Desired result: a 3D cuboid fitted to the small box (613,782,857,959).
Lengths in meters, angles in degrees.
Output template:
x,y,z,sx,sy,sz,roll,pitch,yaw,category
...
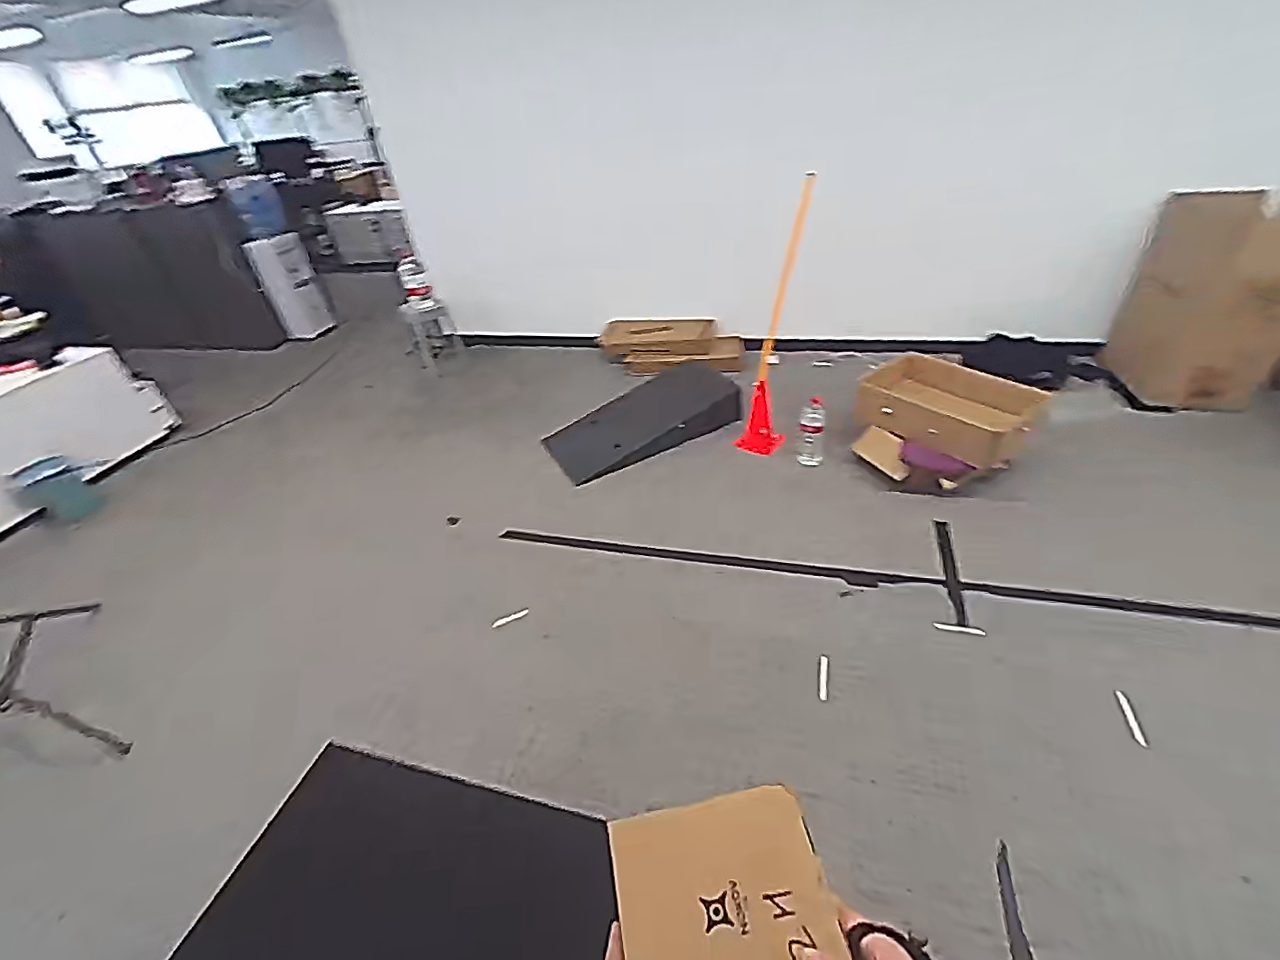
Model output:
x,y,z,sx,sy,sz,roll,pitch,yaw,category
0.078,0.406,0.496,0.179,0.176,0.168,-9,46,-6,small box
